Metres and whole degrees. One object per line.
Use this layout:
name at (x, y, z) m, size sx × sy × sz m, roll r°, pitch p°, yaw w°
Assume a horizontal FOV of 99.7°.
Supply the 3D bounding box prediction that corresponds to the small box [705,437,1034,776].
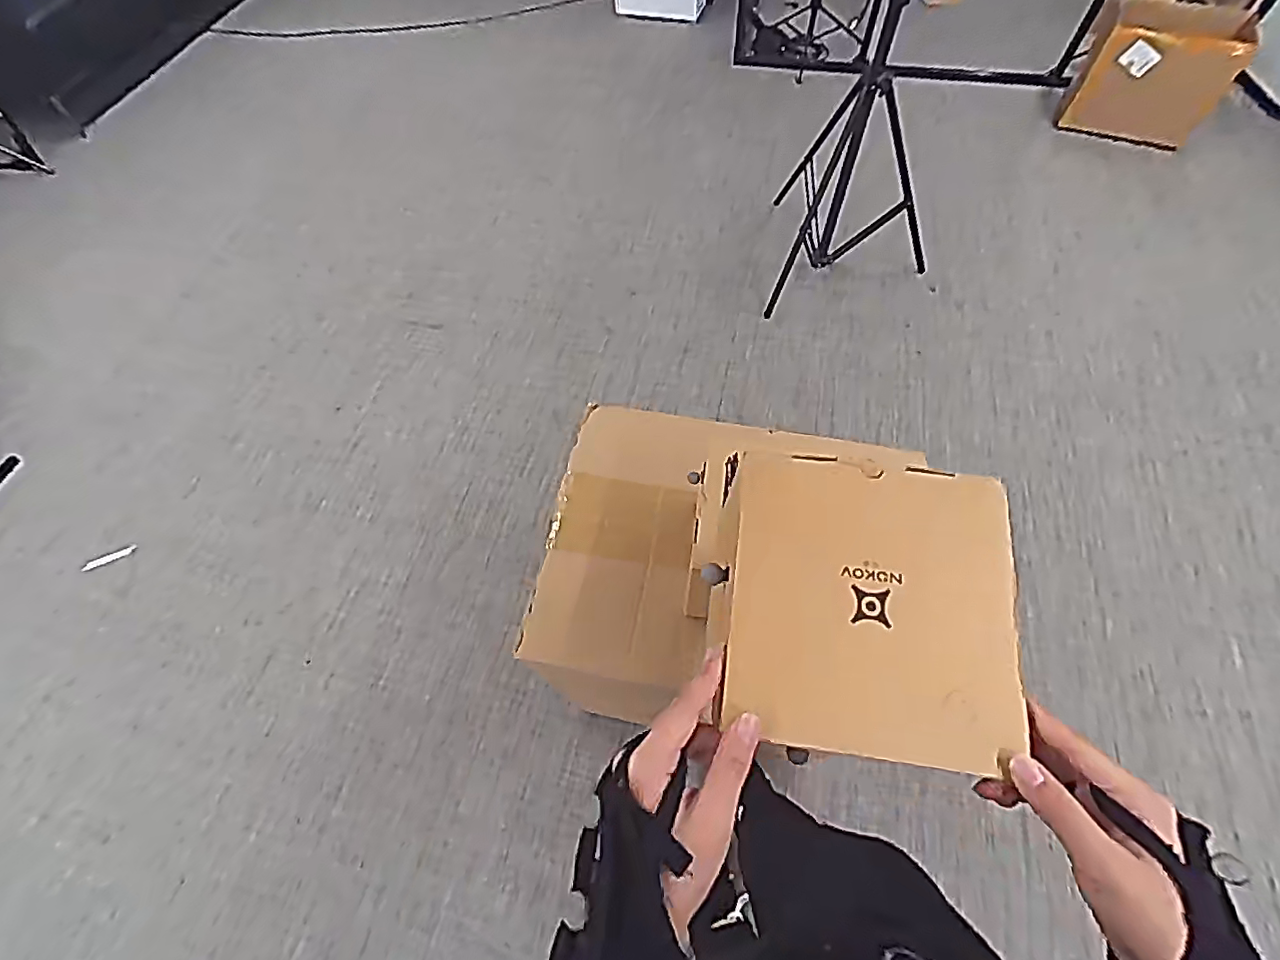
small box at (0.139, 0.089, 0.387) m, size 0.168 × 0.176 × 0.179 m, roll 7°, pitch 70°, yaw 5°
